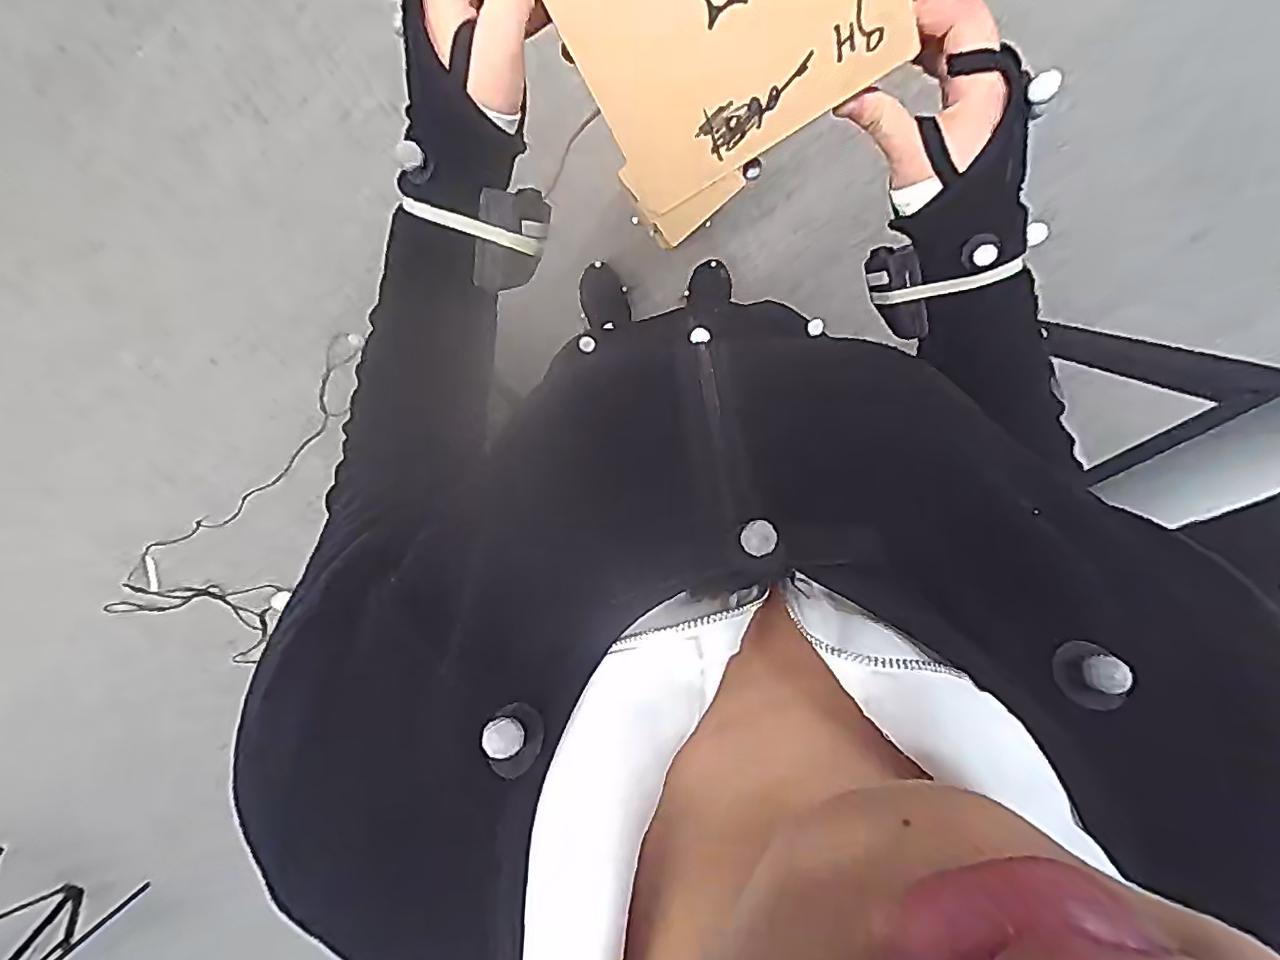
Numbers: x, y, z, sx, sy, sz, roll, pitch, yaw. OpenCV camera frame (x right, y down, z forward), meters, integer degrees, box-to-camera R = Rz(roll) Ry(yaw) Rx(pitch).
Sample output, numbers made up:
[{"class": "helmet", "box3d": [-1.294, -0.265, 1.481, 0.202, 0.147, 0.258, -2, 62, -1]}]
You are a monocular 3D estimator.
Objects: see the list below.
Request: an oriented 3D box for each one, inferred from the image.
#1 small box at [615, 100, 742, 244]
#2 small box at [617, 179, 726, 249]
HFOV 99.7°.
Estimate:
[{"class": "small box", "box3d": [0.070, -0.583, 1.051, 0.179, 0.176, 0.168, -38, 110, 13]}, {"class": "small box", "box3d": [0.065, -0.642, 1.202, 0.179, 0.176, 0.168, -34, 109, 14]}]
